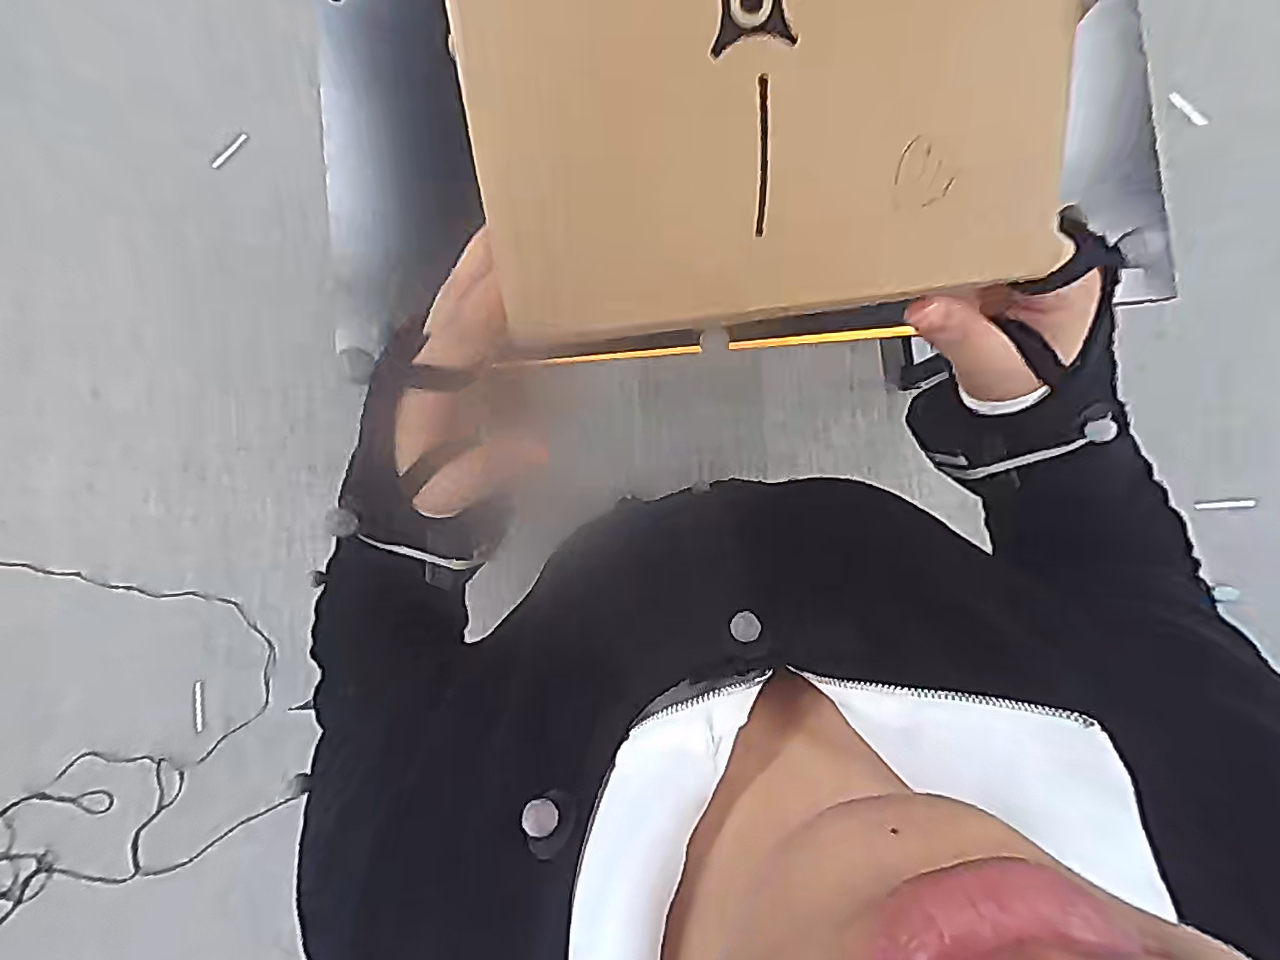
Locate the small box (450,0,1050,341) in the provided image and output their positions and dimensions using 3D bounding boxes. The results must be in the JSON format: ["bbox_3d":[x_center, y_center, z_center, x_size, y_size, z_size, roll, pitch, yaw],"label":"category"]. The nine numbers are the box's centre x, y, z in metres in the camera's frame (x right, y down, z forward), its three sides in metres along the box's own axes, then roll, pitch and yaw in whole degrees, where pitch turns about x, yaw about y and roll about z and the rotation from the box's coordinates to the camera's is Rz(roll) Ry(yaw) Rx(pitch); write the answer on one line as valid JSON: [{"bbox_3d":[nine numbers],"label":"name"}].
[{"bbox_3d":[0.030,-0.156,0.226,0.168,0.176,0.179,-6,104,3],"label":"small box"}]
